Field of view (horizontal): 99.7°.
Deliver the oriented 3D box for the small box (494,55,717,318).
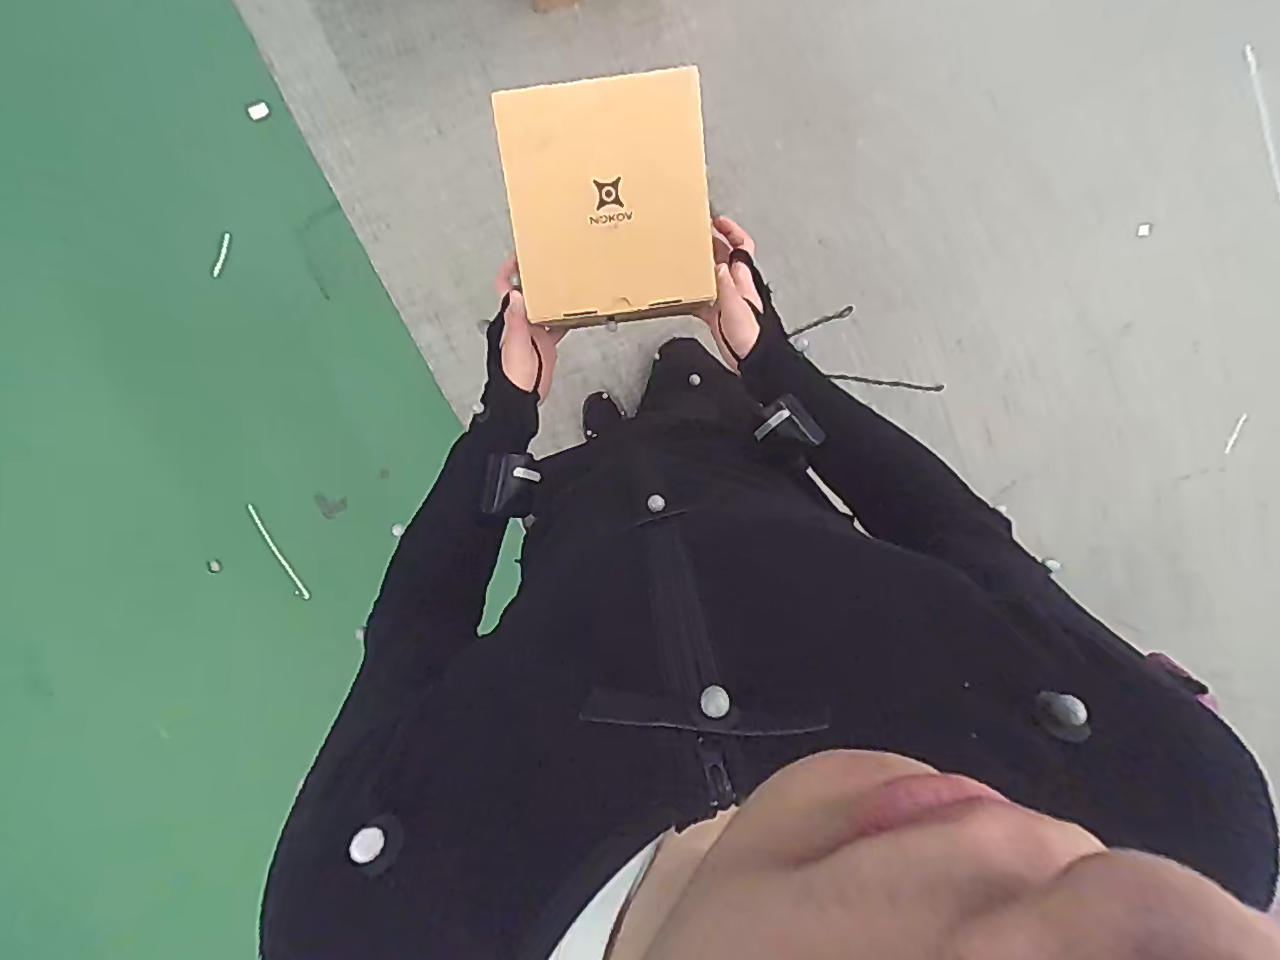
[{"bbox_3d":[-0.027,-0.256,0.516,0.168,0.176,0.179,-7,105,1],"label":"small box"}]
